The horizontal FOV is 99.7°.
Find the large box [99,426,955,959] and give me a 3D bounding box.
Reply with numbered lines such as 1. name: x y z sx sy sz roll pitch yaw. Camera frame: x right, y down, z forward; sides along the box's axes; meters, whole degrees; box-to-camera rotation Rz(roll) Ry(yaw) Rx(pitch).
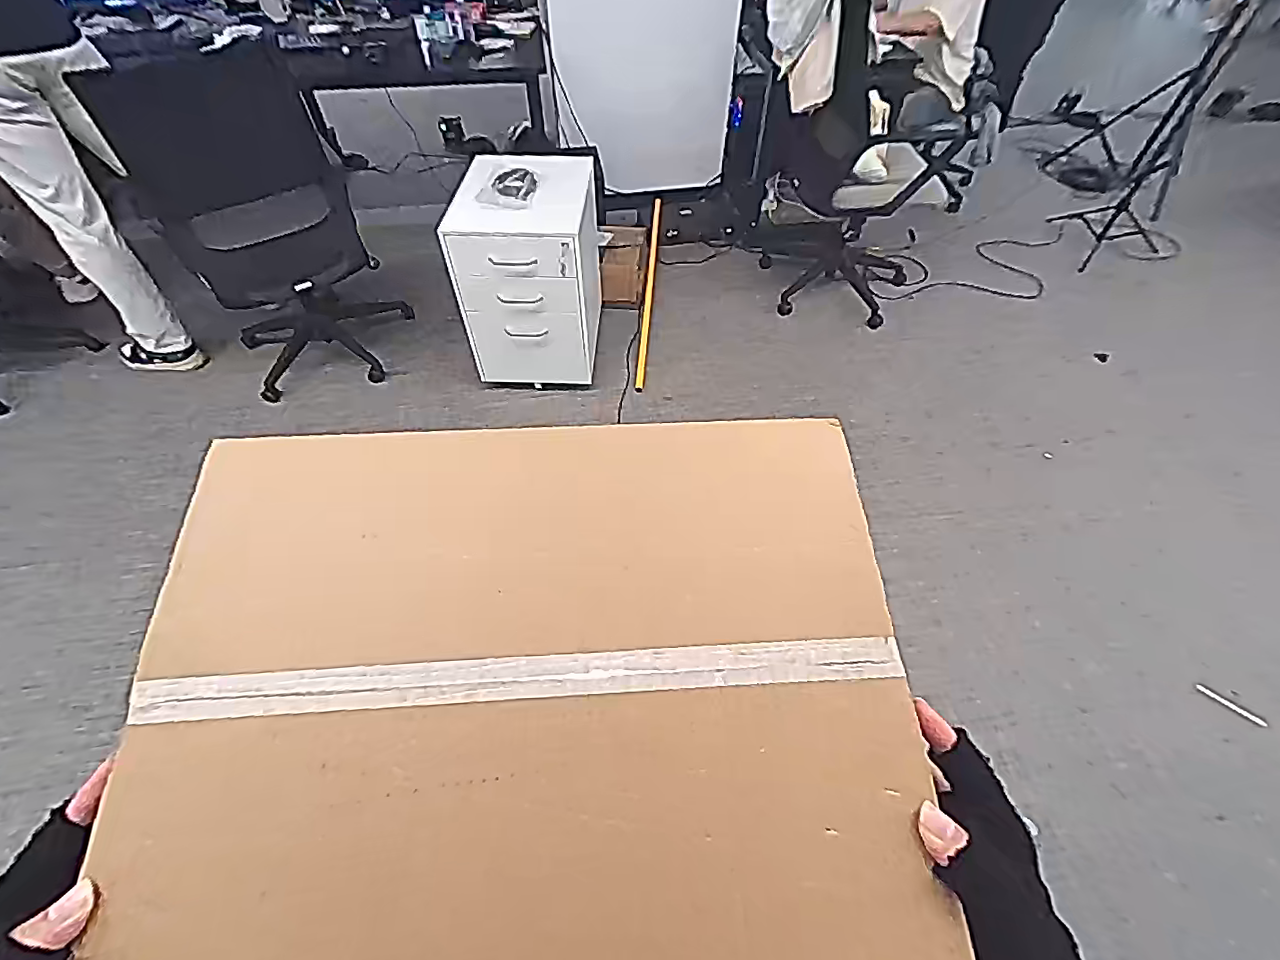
1. large box: -0.062 0.174 0.440 0.408 0.320 0.320 -3 66 -3
